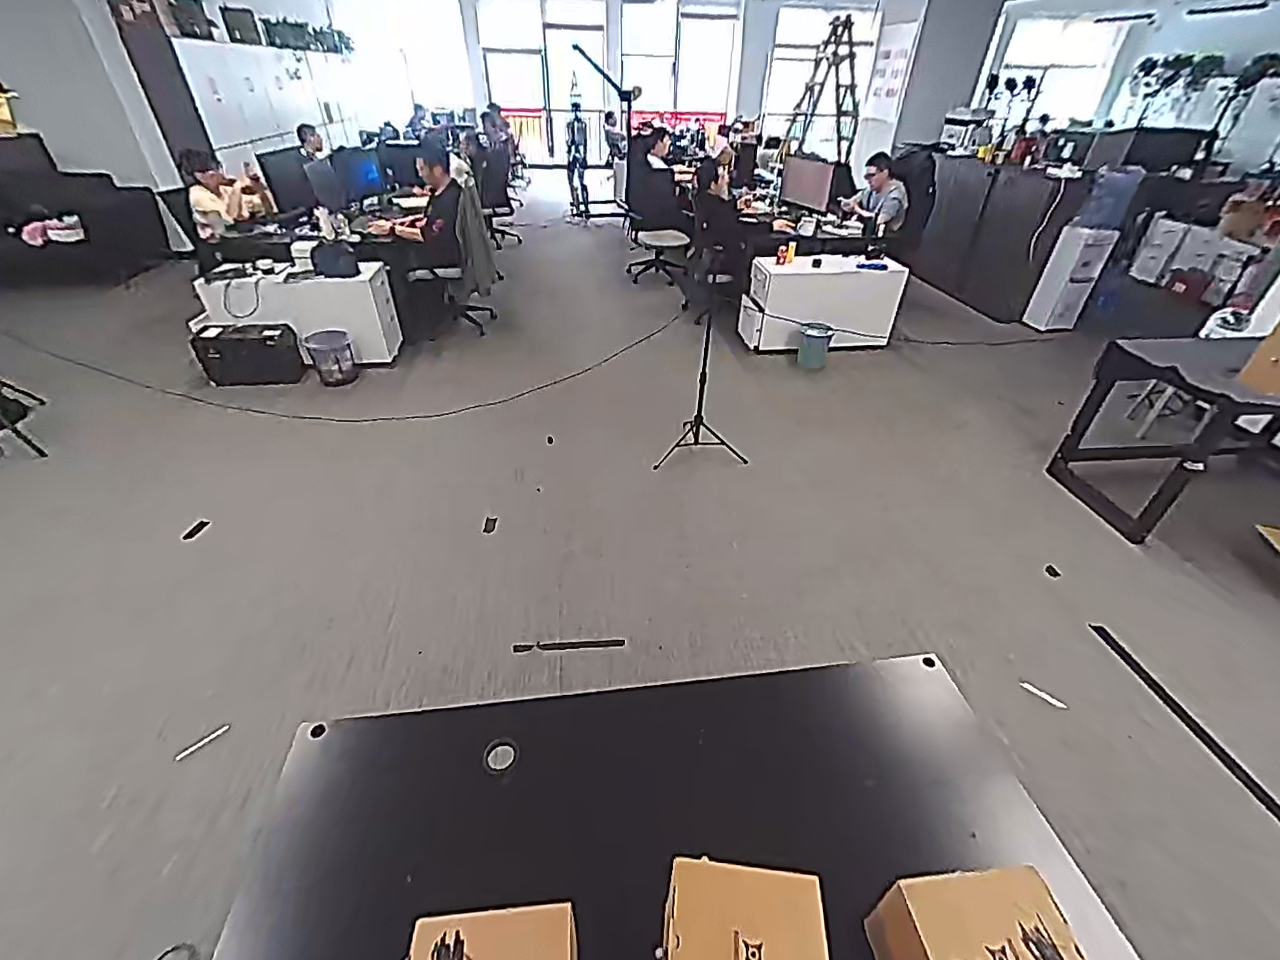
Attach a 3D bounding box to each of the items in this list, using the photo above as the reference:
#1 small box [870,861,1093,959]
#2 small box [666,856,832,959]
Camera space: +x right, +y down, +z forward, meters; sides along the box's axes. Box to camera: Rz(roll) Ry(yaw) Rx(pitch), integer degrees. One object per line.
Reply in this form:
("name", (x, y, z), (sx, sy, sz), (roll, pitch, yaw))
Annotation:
("small box", (0.400, 0.577, 0.630), (0.179, 0.176, 0.168), (-4, 36, -4))
("small box", (0.120, 0.575, 0.632), (0.179, 0.176, 0.168), (3, 36, 5))
